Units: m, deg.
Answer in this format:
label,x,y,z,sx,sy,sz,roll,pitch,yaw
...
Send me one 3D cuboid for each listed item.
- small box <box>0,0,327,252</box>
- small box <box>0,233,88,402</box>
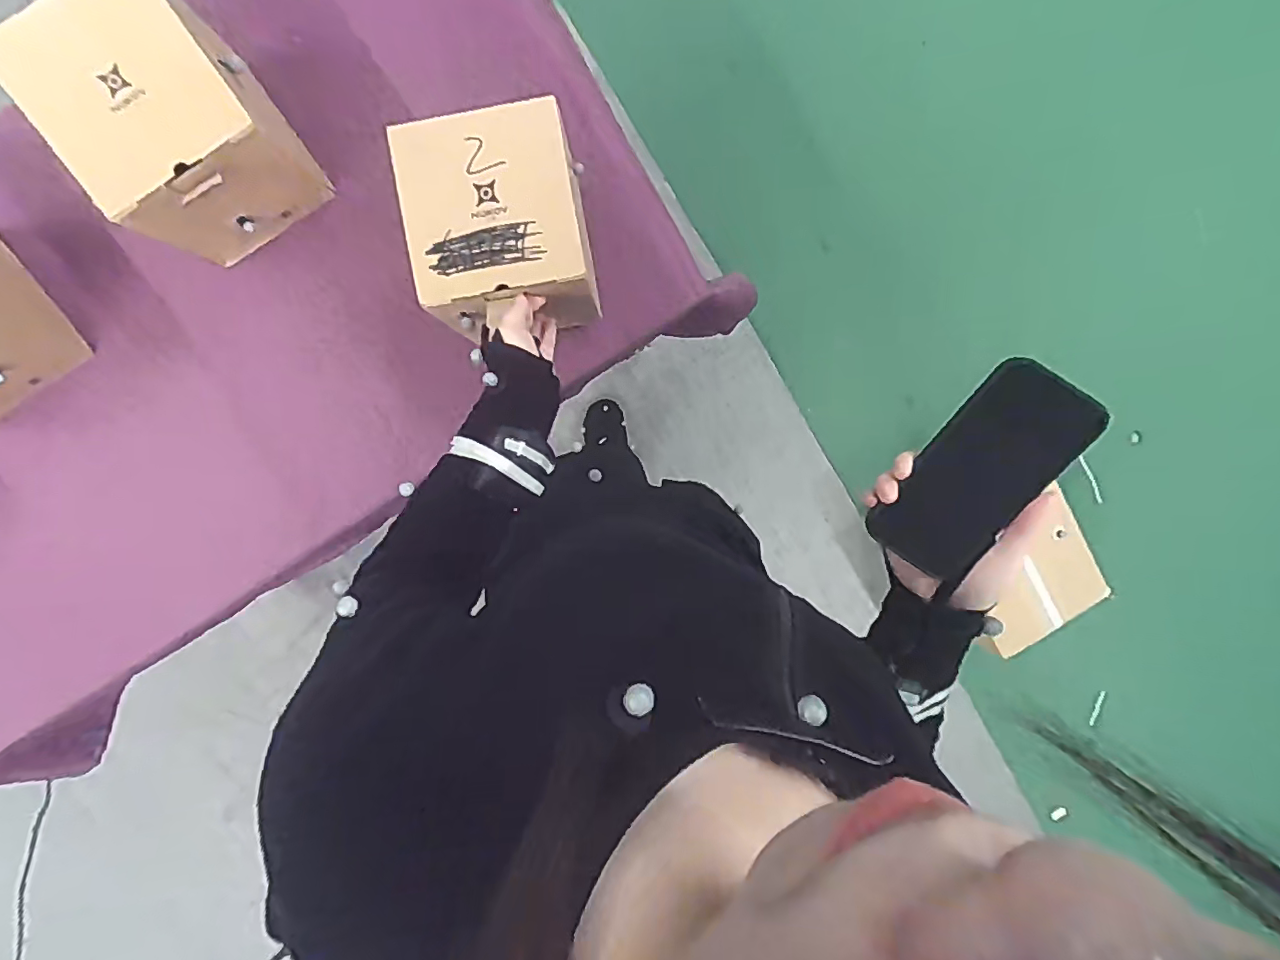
label,x,y,z,sx,sy,sz,roll,pitch,yaw
small box,-0.481,-0.375,0.566,0.168,0.176,0.179,-34,100,0
small box,-0.769,-0.178,0.569,0.168,0.176,0.179,-33,100,-1
